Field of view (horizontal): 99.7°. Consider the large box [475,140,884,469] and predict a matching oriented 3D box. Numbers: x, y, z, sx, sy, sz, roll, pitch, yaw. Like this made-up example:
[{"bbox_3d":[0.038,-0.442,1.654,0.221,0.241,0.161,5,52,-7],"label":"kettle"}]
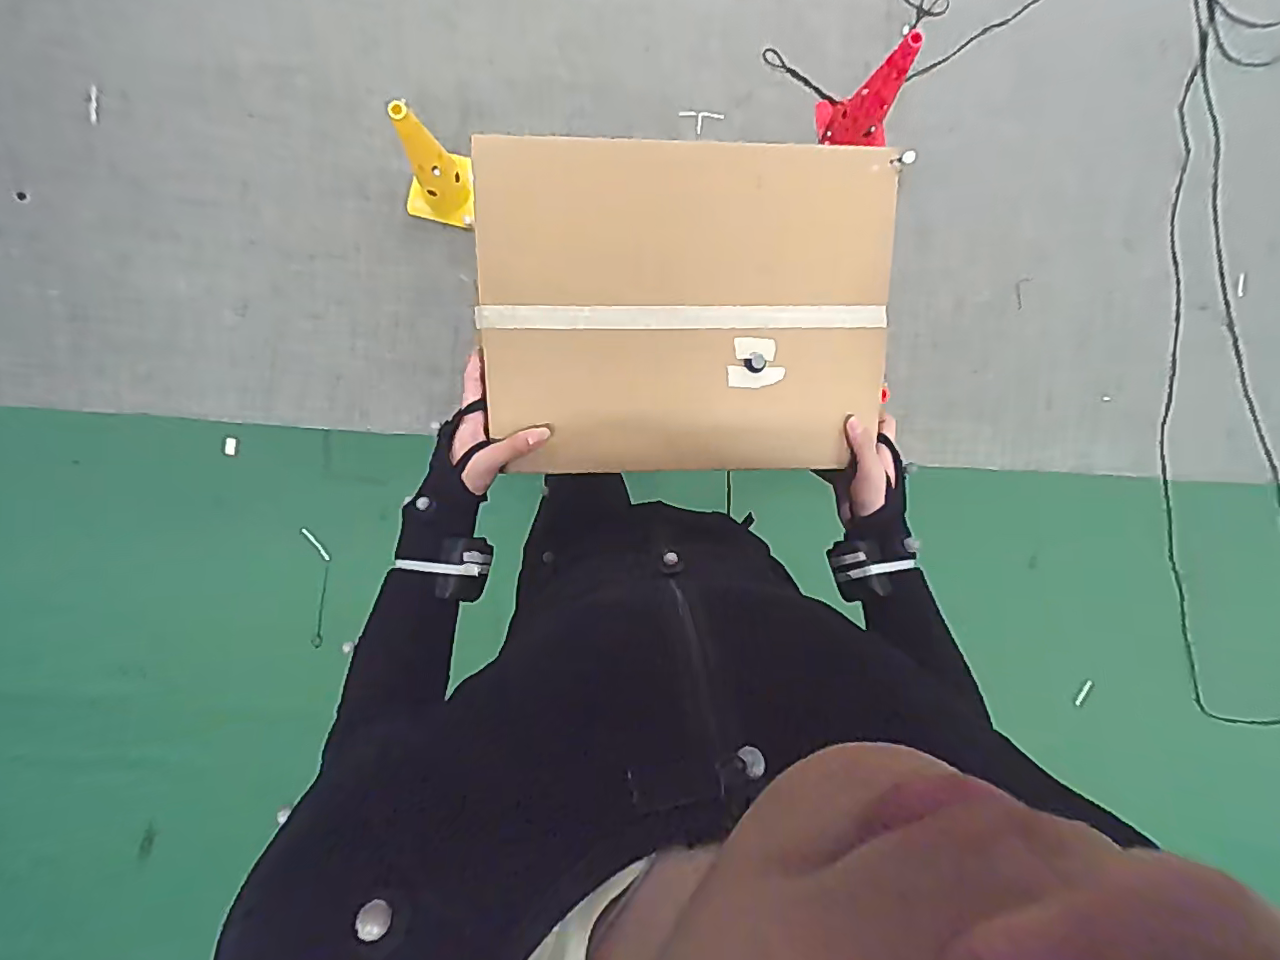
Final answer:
[{"bbox_3d":[0.031,-0.198,0.689,0.408,0.320,0.320,-1,102,-5],"label":"large box"}]
